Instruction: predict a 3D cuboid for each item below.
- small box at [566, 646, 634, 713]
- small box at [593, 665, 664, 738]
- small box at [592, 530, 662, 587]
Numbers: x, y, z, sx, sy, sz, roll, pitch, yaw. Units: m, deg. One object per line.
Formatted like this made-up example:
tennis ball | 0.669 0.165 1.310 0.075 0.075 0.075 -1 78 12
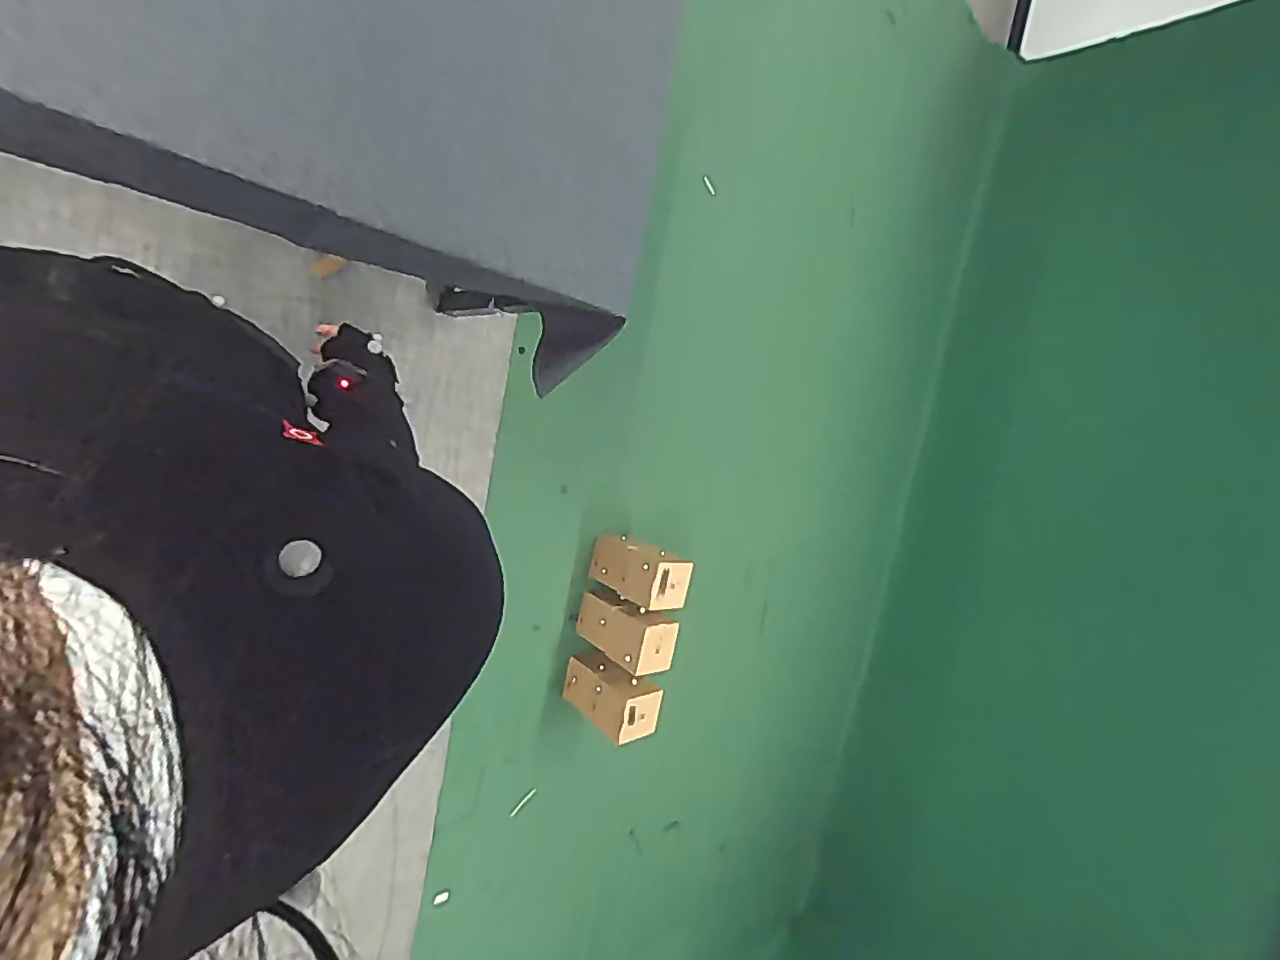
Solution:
small box | -0.152 0.742 2.034 0.179 0.176 0.168 6 98 -42
small box | -0.046 0.776 1.914 0.179 0.176 0.168 5 99 -43
small box | -0.053 0.289 1.997 0.179 0.176 0.168 12 94 -43
